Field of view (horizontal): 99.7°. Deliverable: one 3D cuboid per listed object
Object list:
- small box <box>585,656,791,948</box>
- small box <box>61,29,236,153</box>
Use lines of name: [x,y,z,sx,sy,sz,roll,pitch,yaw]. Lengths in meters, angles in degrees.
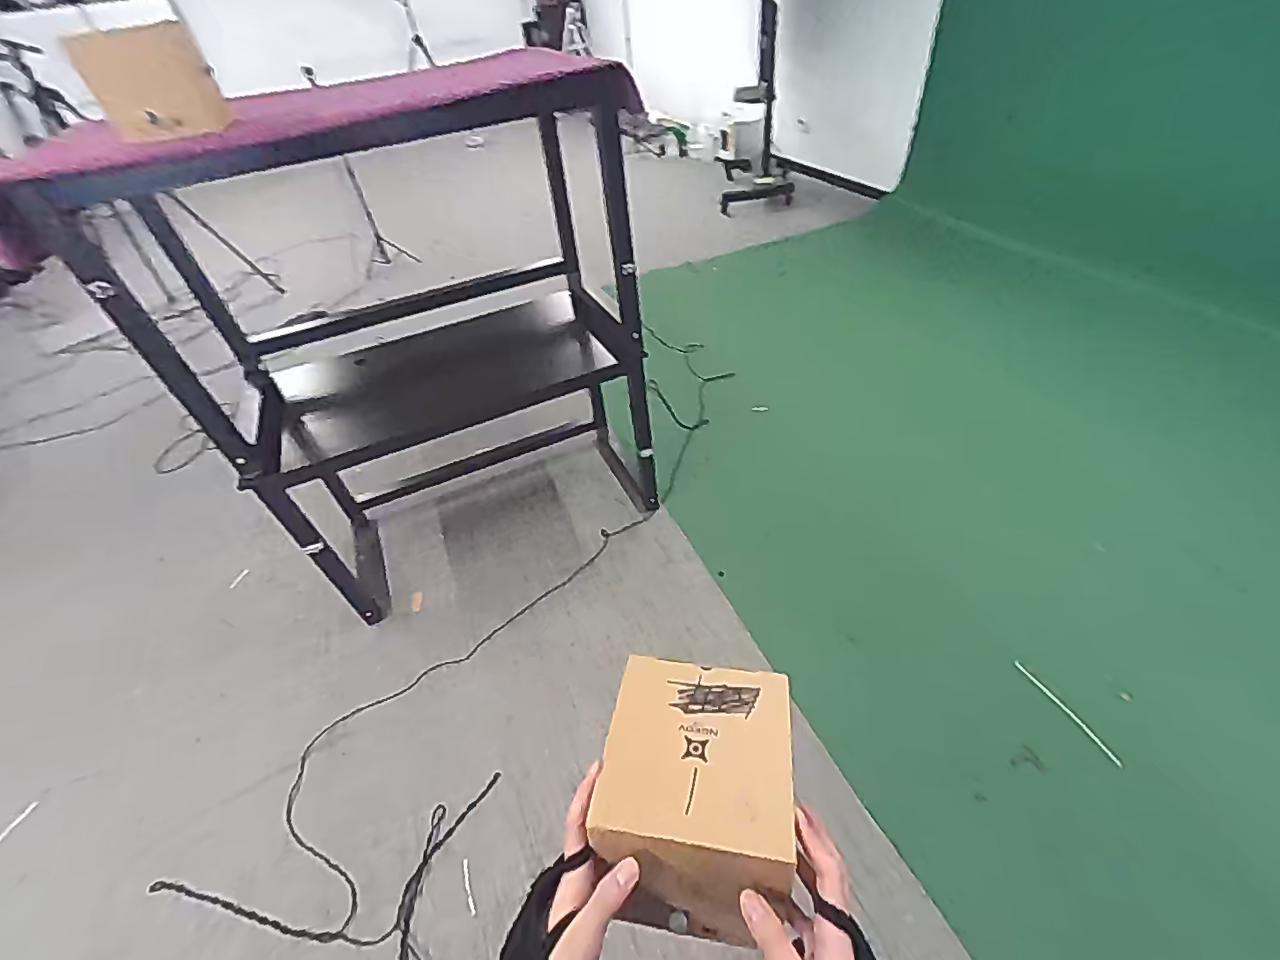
small box: [0.053,0.305,0.530,0.168,0.176,0.179,3,32,11]
small box: [-0.922,-0.747,1.039,0.168,0.176,0.179,-19,44,-11]
